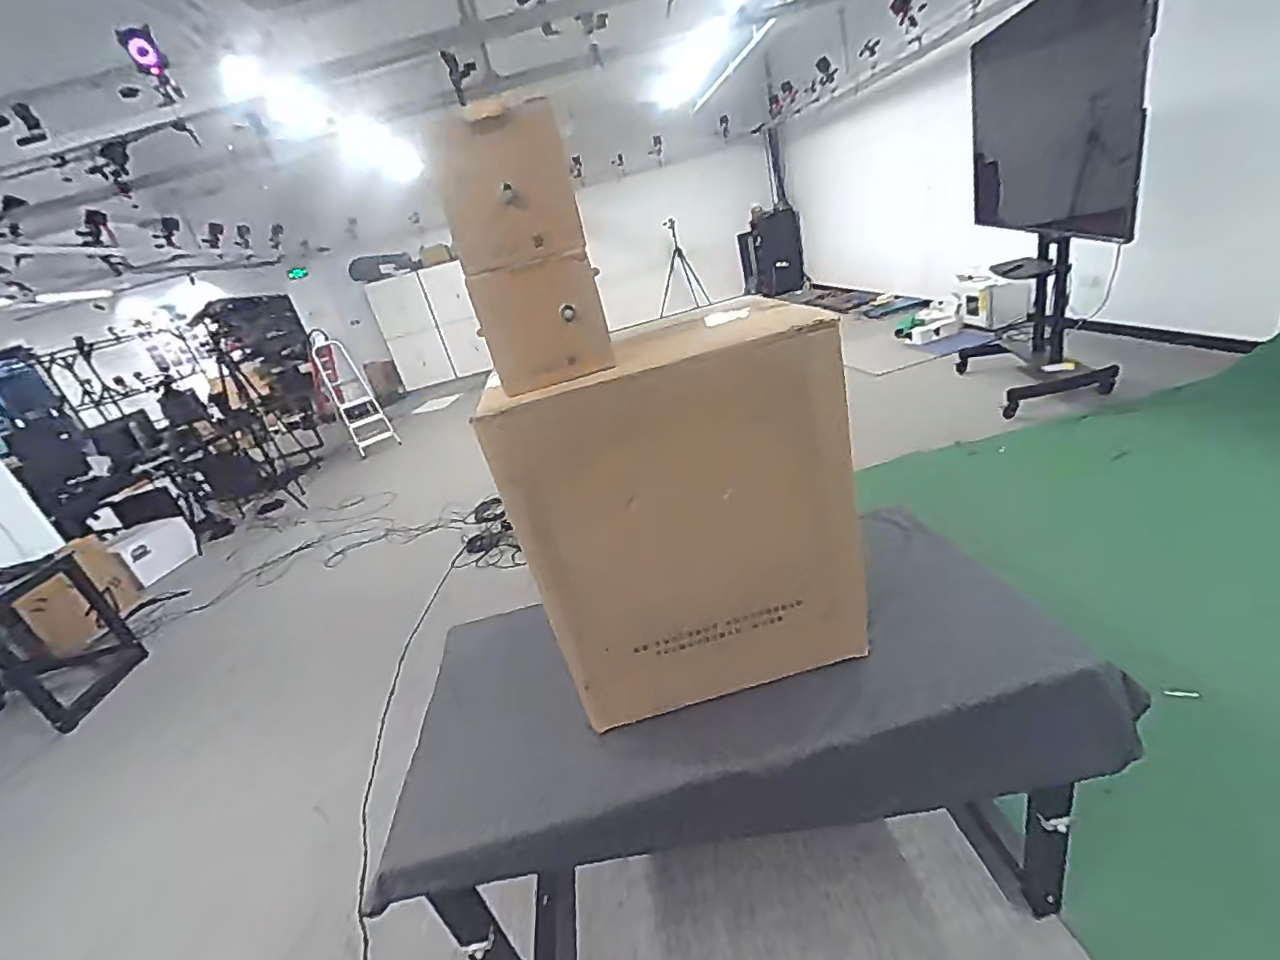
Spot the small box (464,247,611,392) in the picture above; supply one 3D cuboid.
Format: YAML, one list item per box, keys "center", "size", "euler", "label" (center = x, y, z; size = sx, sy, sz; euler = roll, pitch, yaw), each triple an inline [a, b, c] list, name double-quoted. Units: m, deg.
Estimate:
- center: [-0.146, -0.242, 0.809]
  size: [0.168, 0.176, 0.179]
  euler: [-15, 25, -4]
  label: "small box"

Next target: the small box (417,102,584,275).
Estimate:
- center: [-0.179, -0.387, 0.741]
  size: [0.168, 0.176, 0.179]
  euler: [-15, 27, -4]
  label: "small box"
